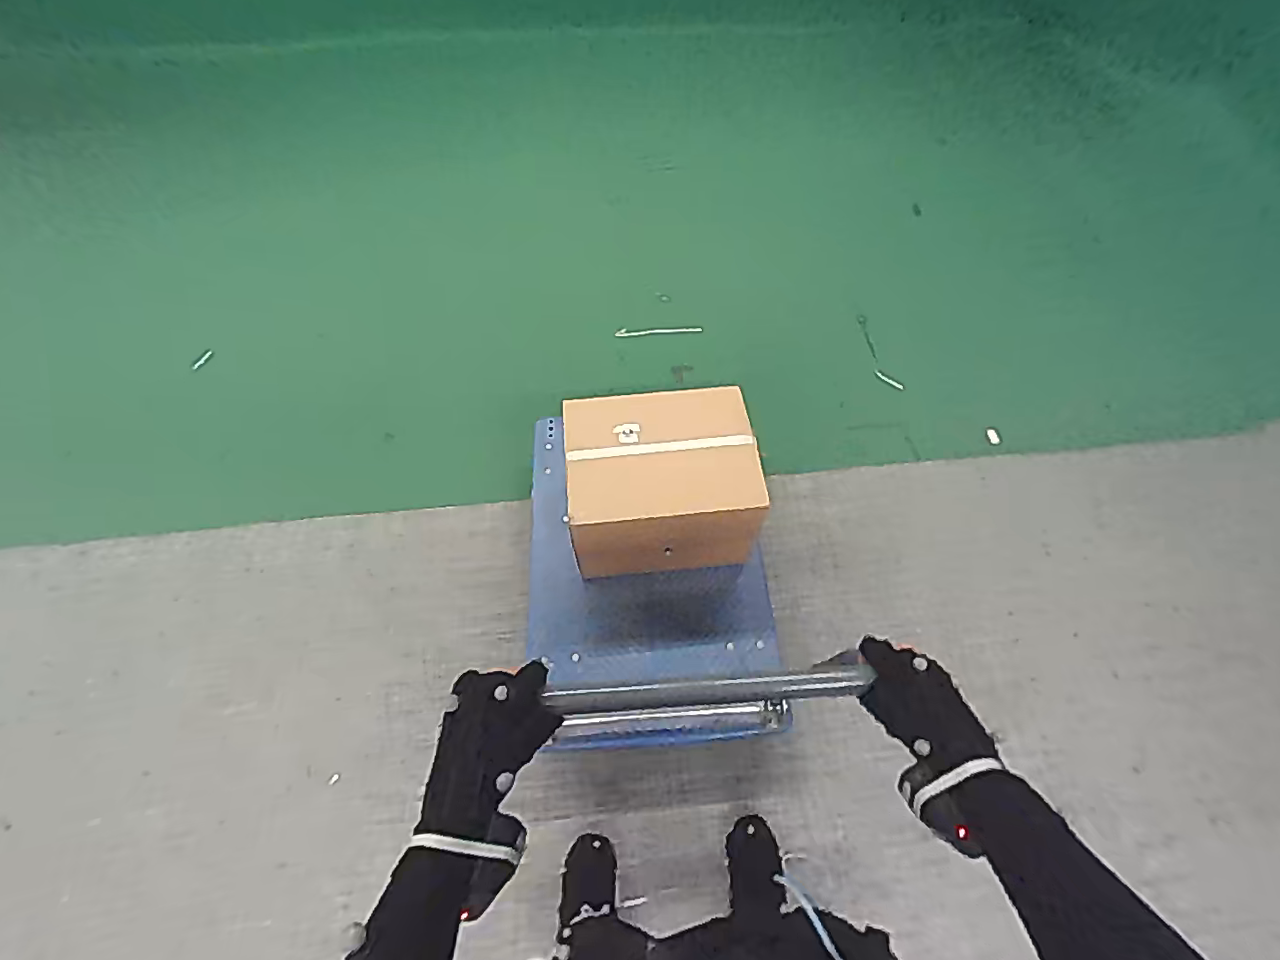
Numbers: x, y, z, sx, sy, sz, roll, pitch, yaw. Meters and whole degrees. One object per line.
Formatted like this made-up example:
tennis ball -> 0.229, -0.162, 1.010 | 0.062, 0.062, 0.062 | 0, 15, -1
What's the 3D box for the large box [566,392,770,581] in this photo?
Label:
large box -> 0.052, 0.026, 1.279 | 0.408, 0.320, 0.320 | -6, 59, -3
